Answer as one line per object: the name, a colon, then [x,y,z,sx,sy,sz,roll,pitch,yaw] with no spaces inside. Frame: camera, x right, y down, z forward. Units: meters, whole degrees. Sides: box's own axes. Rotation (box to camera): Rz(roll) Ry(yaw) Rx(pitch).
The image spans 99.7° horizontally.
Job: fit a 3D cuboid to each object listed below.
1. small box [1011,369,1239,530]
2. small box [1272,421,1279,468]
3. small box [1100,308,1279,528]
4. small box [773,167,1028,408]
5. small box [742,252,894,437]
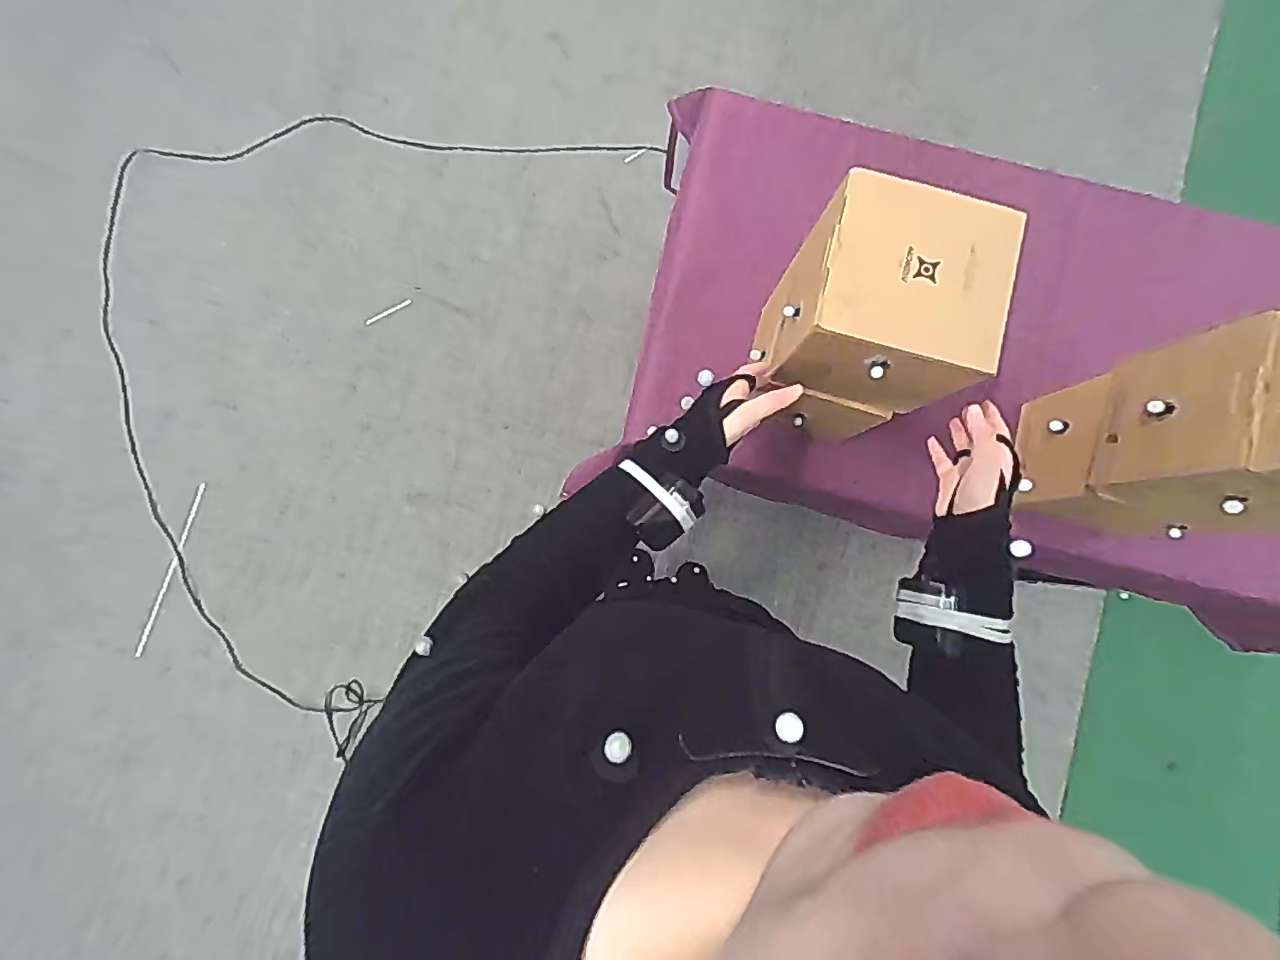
small box: [0.653,-0.029,0.737,0.179,0.176,0.168,15,83,0]
small box: [0.663,-0.064,0.410,0.179,0.176,0.168,19,83,-1]
small box: [0.650,-0.050,0.575,0.179,0.176,0.168,19,84,1]
small box: [0.259,-0.187,0.579,0.179,0.176,0.168,15,85,0]
small box: [0.249,-0.170,0.741,0.168,0.176,0.179,17,83,0]
